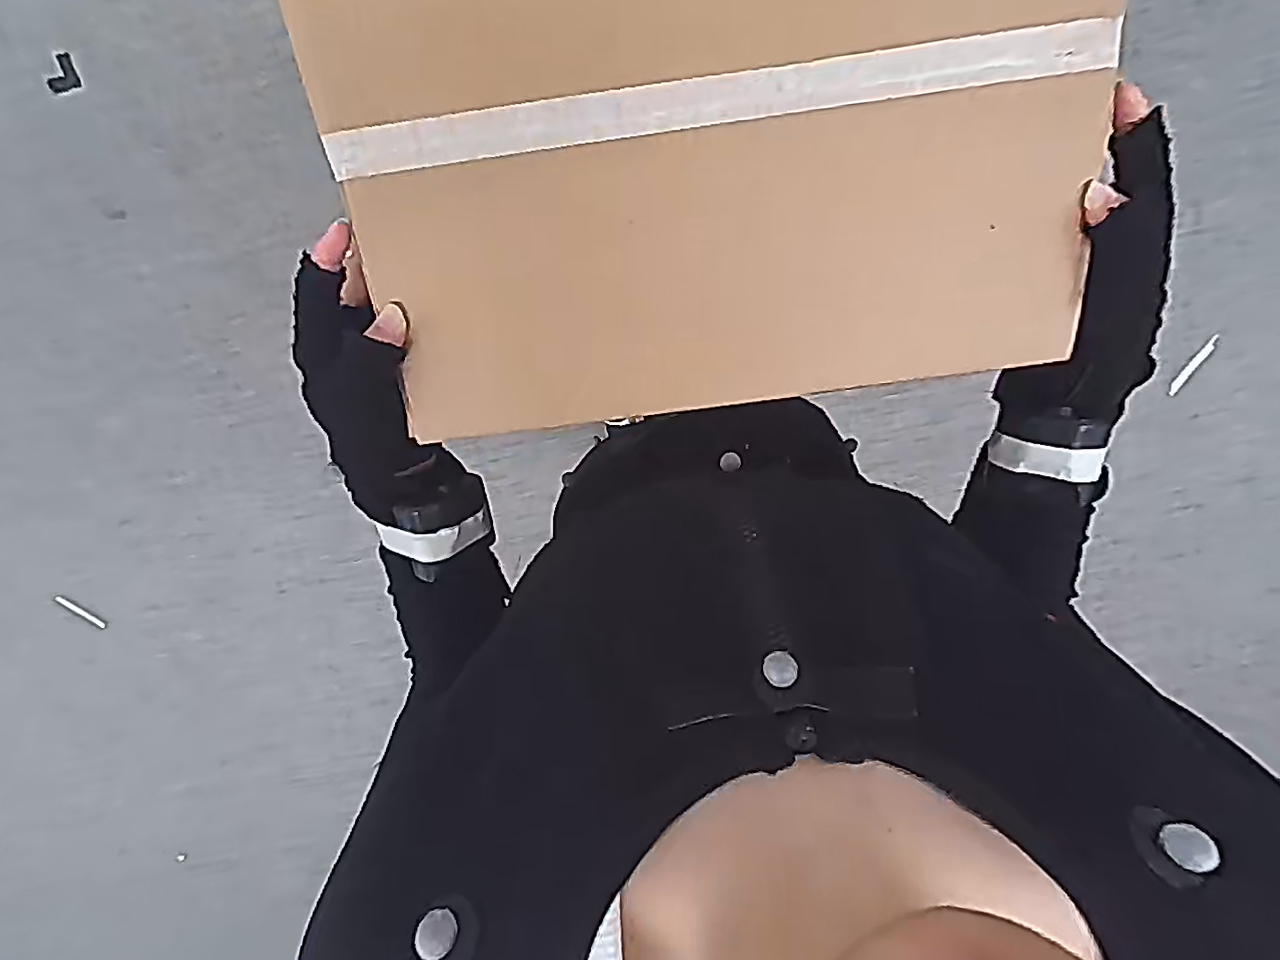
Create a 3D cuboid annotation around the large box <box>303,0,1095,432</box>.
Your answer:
[{"bbox_3d":[0.032,-0.250,0.429,0.408,0.320,0.320,-8,111,1],"label":"large box"}]
